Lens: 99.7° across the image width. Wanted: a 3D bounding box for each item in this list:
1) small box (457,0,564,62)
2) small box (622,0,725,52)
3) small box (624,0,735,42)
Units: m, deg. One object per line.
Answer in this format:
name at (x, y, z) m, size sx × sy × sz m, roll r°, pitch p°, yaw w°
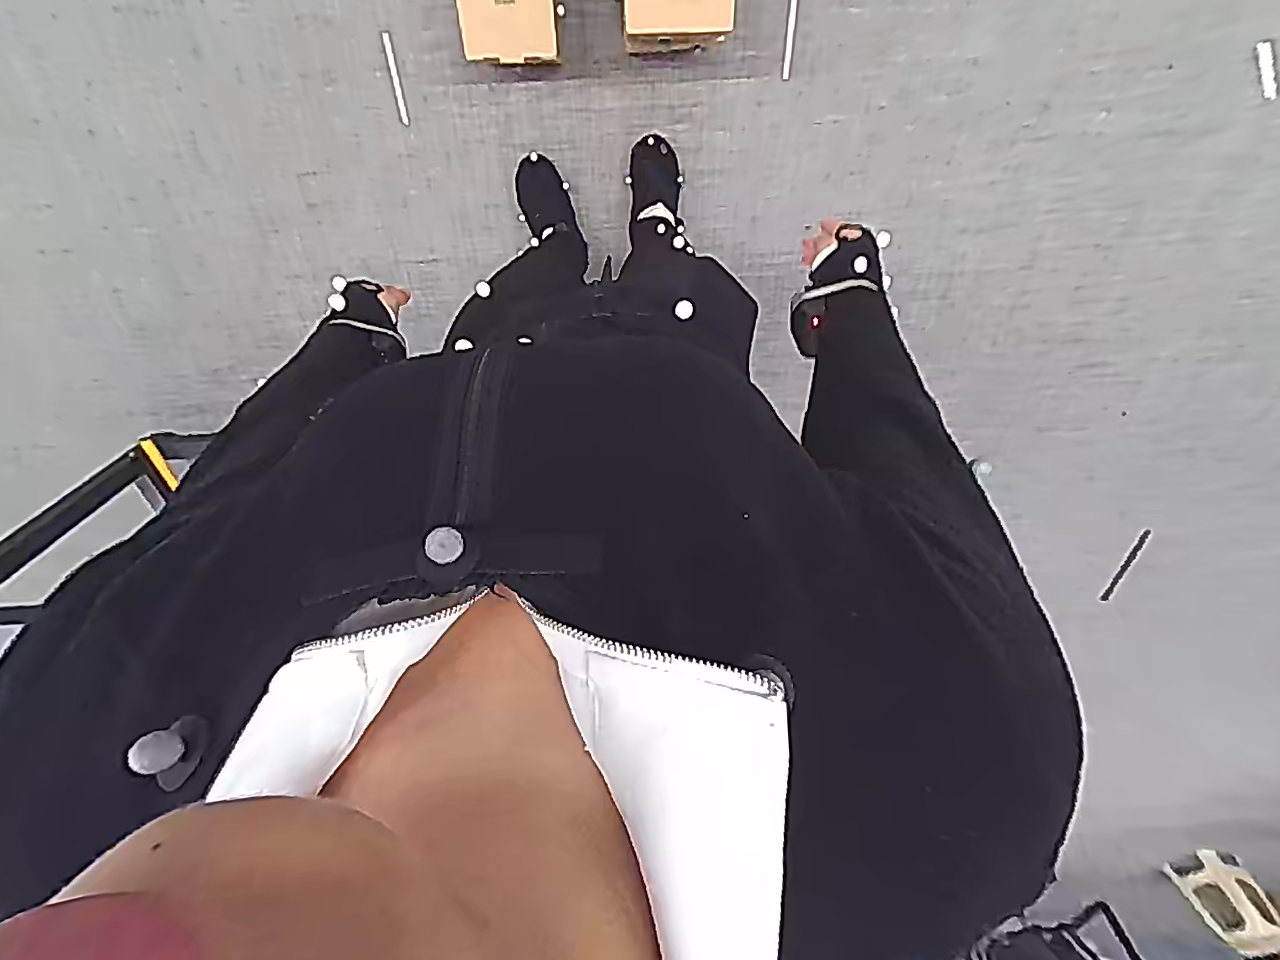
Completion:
small box at (-0.231, -0.868, 0.978) m, size 0.168 × 0.176 × 0.179 m, roll -1°, pitch 127°, yaw -1°
small box at (0.056, -0.884, 0.976) m, size 0.179 × 0.176 × 0.168 m, roll -4°, pitch 126°, yaw -1°
small box at (0.057, -0.797, 0.838) m, size 0.168 × 0.176 × 0.179 m, roll -1°, pitch 127°, yaw 0°
